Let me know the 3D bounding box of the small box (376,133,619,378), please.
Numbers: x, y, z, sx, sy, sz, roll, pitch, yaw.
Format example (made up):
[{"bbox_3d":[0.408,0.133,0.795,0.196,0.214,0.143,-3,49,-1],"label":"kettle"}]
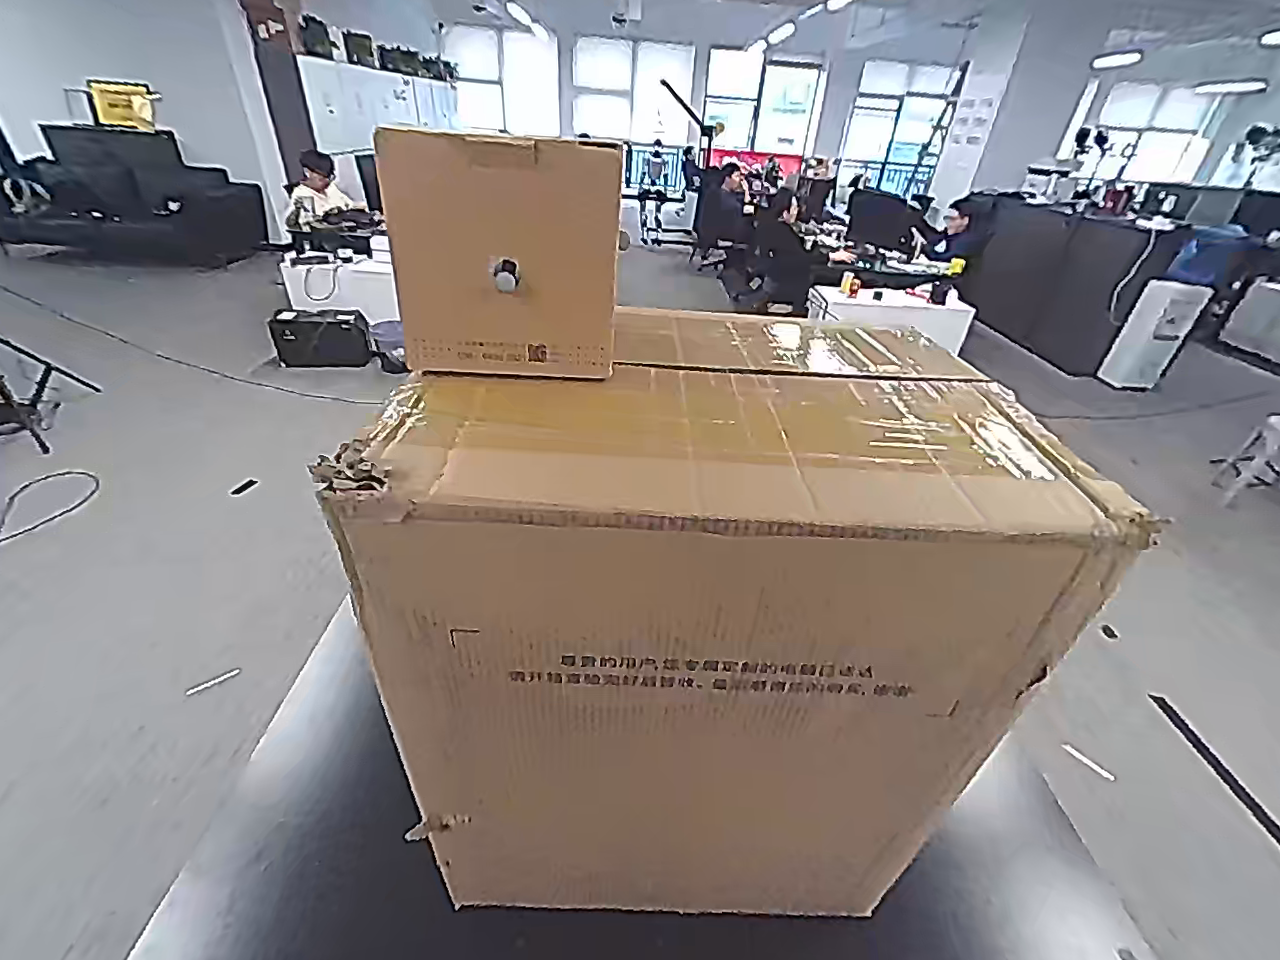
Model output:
[{"bbox_3d":[-0.104,-0.198,0.474,0.168,0.176,0.179,1,32,-6],"label":"small box"}]
